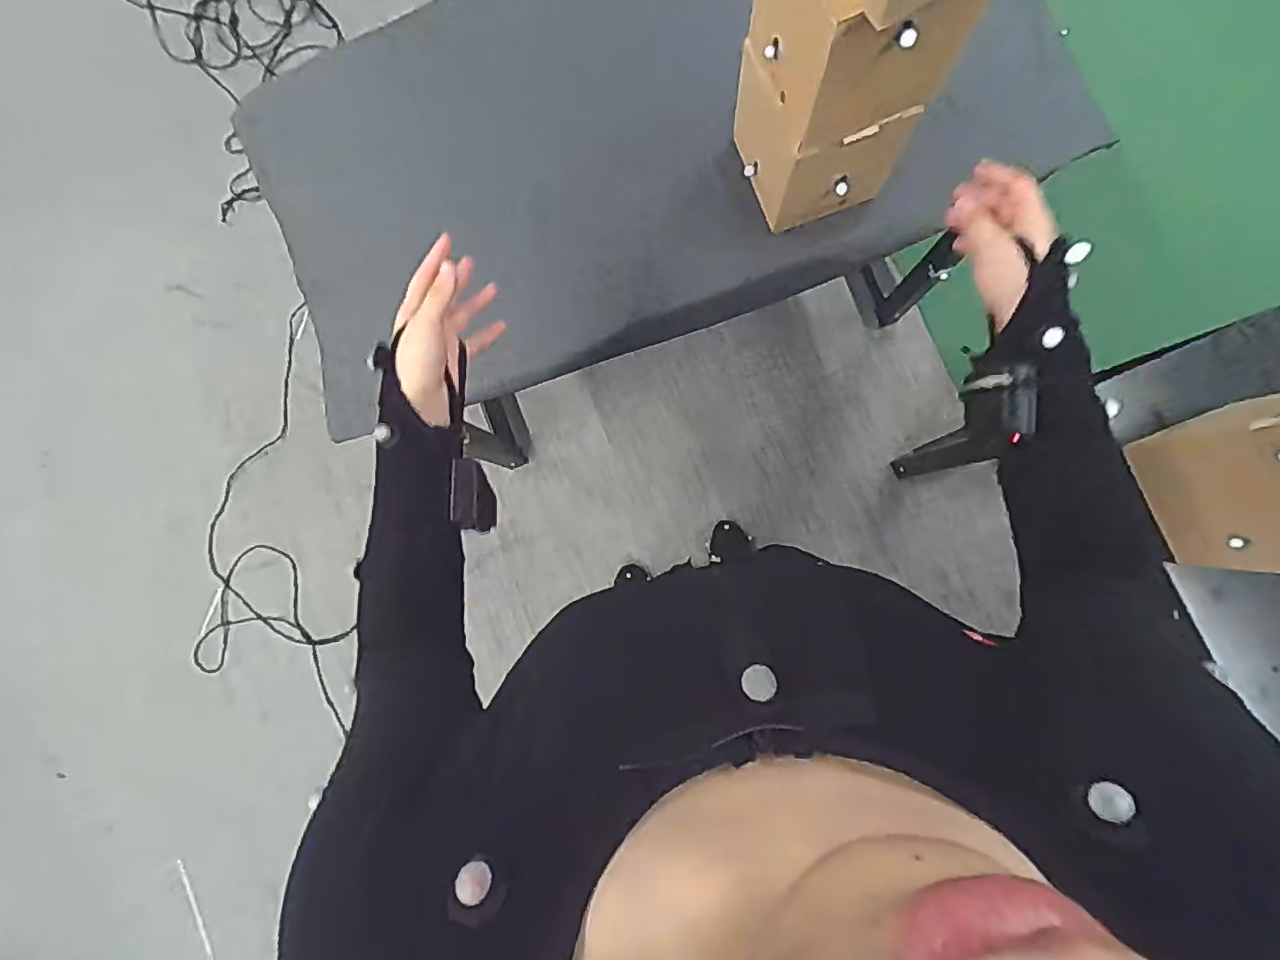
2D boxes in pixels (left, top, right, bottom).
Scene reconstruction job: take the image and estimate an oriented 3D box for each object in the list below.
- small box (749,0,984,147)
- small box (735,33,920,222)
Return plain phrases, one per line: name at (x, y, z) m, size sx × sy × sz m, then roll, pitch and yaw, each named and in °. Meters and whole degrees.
small box at (0.229, -0.501, 0.565) m, size 0.179 × 0.176 × 0.168 m, roll -22°, pitch 82°, yaw 4°
small box at (0.236, -0.480, 0.727) m, size 0.168 × 0.176 × 0.179 m, roll -20°, pitch 83°, yaw 4°
